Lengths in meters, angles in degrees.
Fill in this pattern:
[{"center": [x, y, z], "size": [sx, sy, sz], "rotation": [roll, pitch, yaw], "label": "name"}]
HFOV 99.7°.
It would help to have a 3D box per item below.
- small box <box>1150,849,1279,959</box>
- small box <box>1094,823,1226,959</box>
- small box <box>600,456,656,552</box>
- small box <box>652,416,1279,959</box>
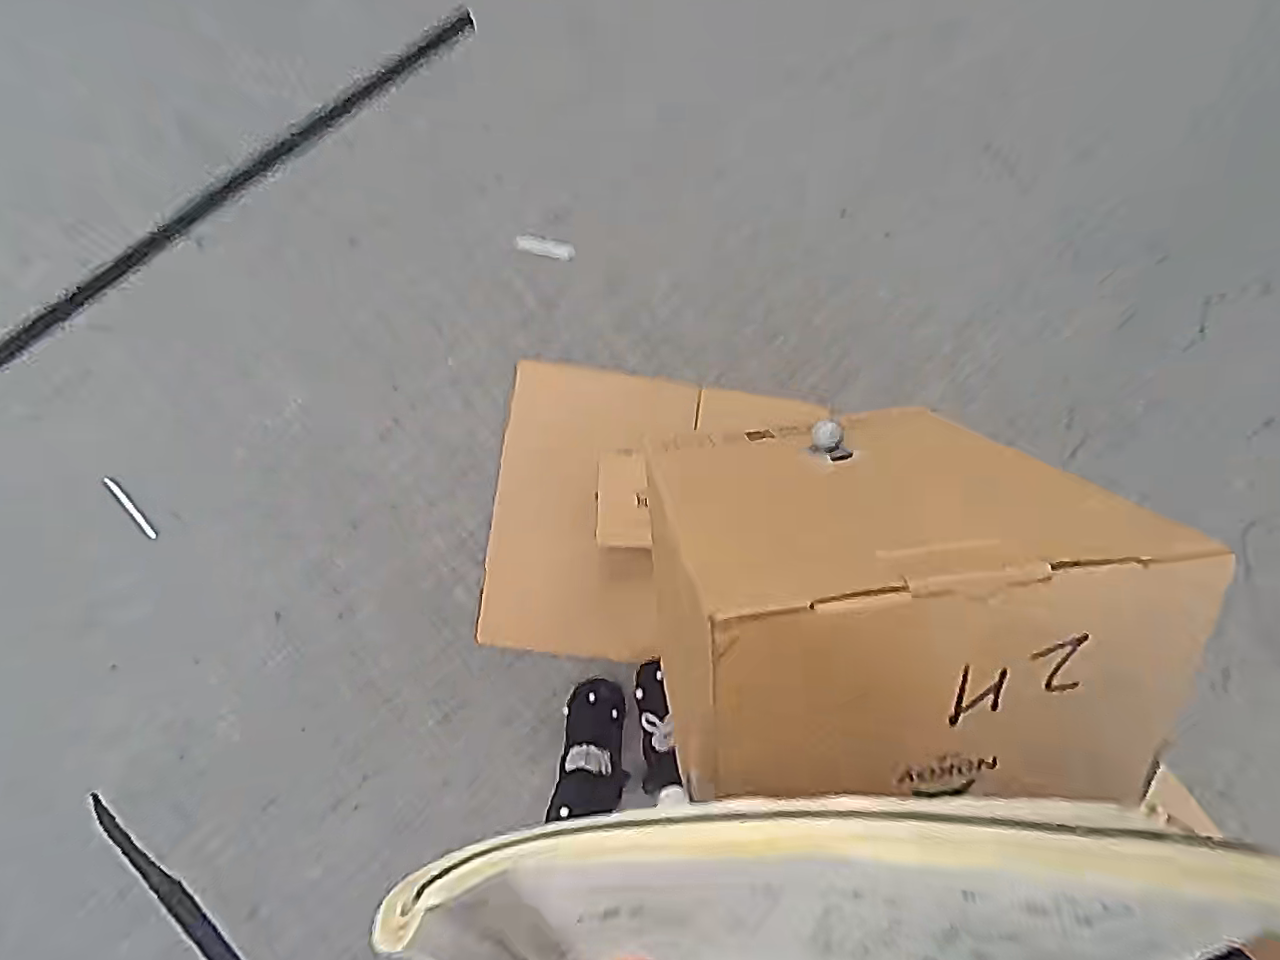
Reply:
[{"center": [0.744, 0.578, 0.608], "size": [0.179, 0.176, 0.168], "rotation": [-38, 88, -3], "label": "small box"}, {"center": [0.729, 0.596, 0.771], "size": [0.179, 0.176, 0.168], "rotation": [-35, 88, -5], "label": "small box"}, {"center": [0.006, 0.050, 1.077], "size": [0.168, 0.176, 0.179], "rotation": [2, 87, -3], "label": "small box"}, {"center": [0.100, 0.082, 0.255], "size": [0.168, 0.176, 0.179], "rotation": [-7, 113, -4], "label": "small box"}]
